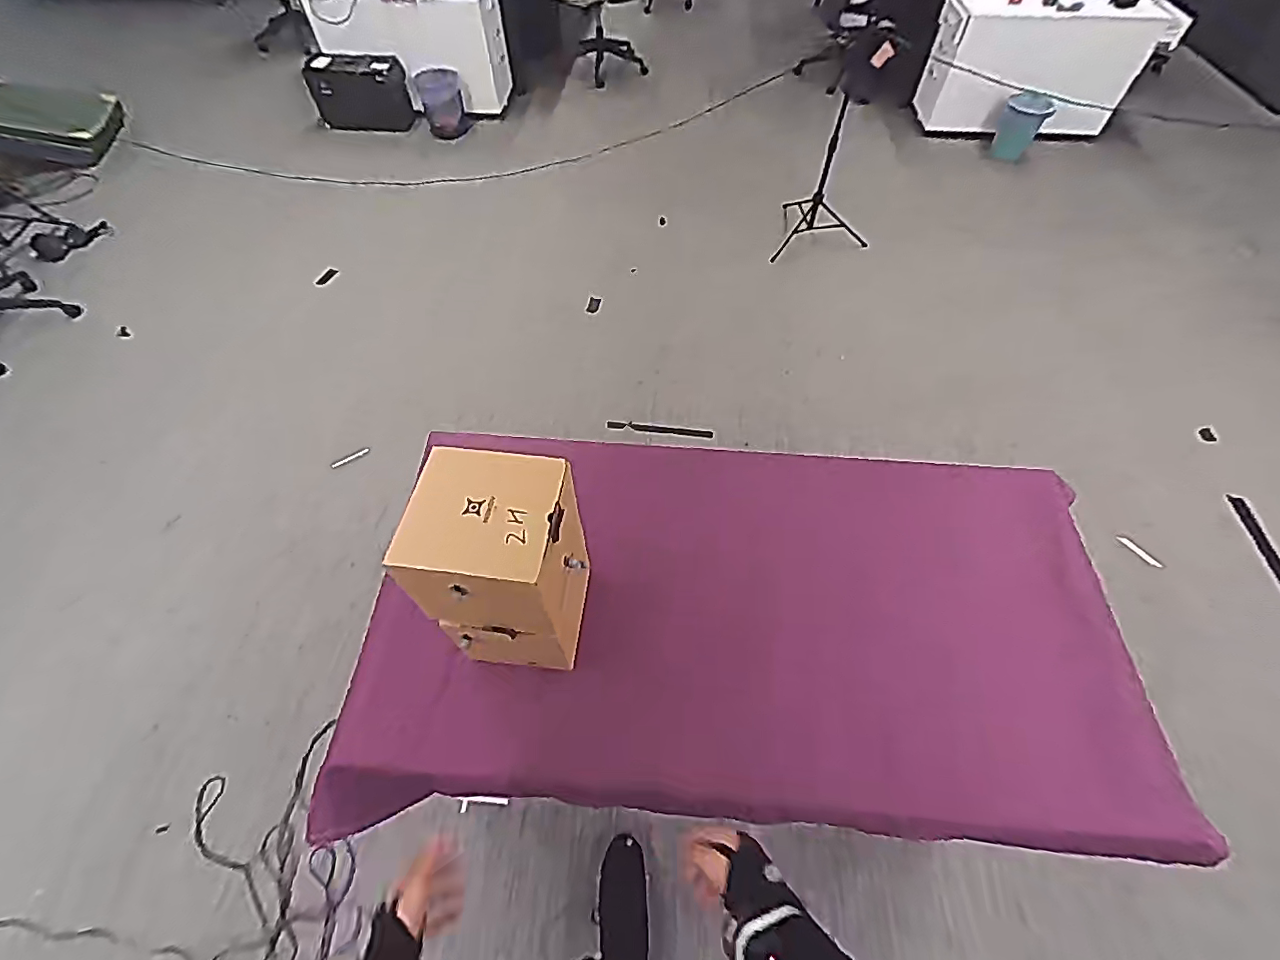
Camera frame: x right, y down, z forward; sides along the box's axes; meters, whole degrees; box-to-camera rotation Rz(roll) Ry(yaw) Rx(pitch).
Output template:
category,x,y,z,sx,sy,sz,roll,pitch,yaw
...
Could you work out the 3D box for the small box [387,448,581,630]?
category,x,y,z,sx,sy,sz,roll,pitch,yaw
small box,-0.182,0.081,0.695,0.179,0.176,0.168,7,56,4
